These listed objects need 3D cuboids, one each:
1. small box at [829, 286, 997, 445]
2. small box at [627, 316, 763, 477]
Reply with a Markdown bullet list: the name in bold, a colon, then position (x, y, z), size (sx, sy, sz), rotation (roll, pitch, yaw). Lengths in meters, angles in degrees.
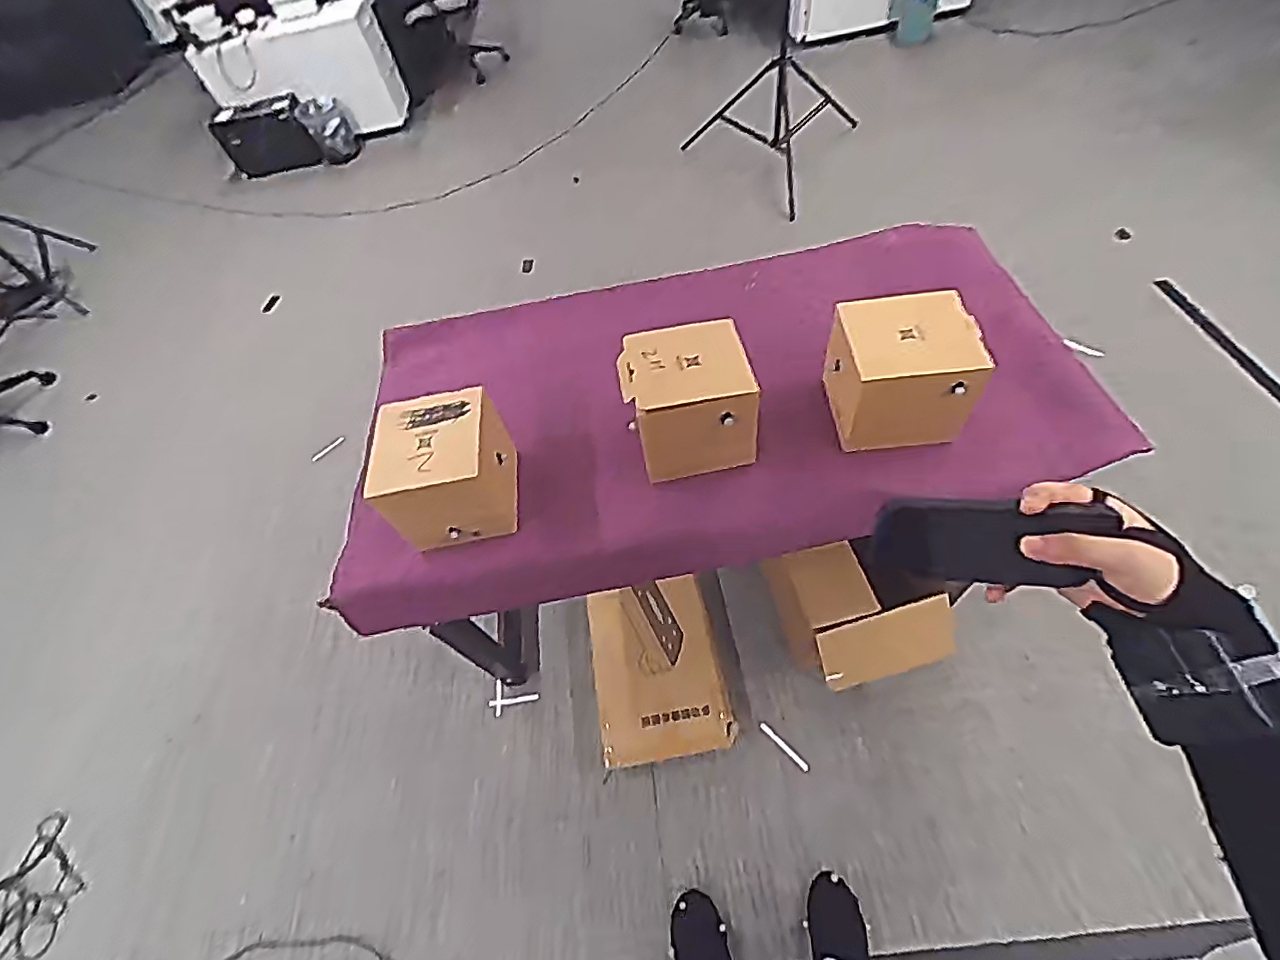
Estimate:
- **small box**: position (0.400, -0.169, 0.834), size (0.179, 0.176, 0.168), rotation (-5, 56, 6)
- **small box**: position (0.085, -0.127, 0.856), size (0.179, 0.176, 0.168), rotation (-11, 53, 2)
